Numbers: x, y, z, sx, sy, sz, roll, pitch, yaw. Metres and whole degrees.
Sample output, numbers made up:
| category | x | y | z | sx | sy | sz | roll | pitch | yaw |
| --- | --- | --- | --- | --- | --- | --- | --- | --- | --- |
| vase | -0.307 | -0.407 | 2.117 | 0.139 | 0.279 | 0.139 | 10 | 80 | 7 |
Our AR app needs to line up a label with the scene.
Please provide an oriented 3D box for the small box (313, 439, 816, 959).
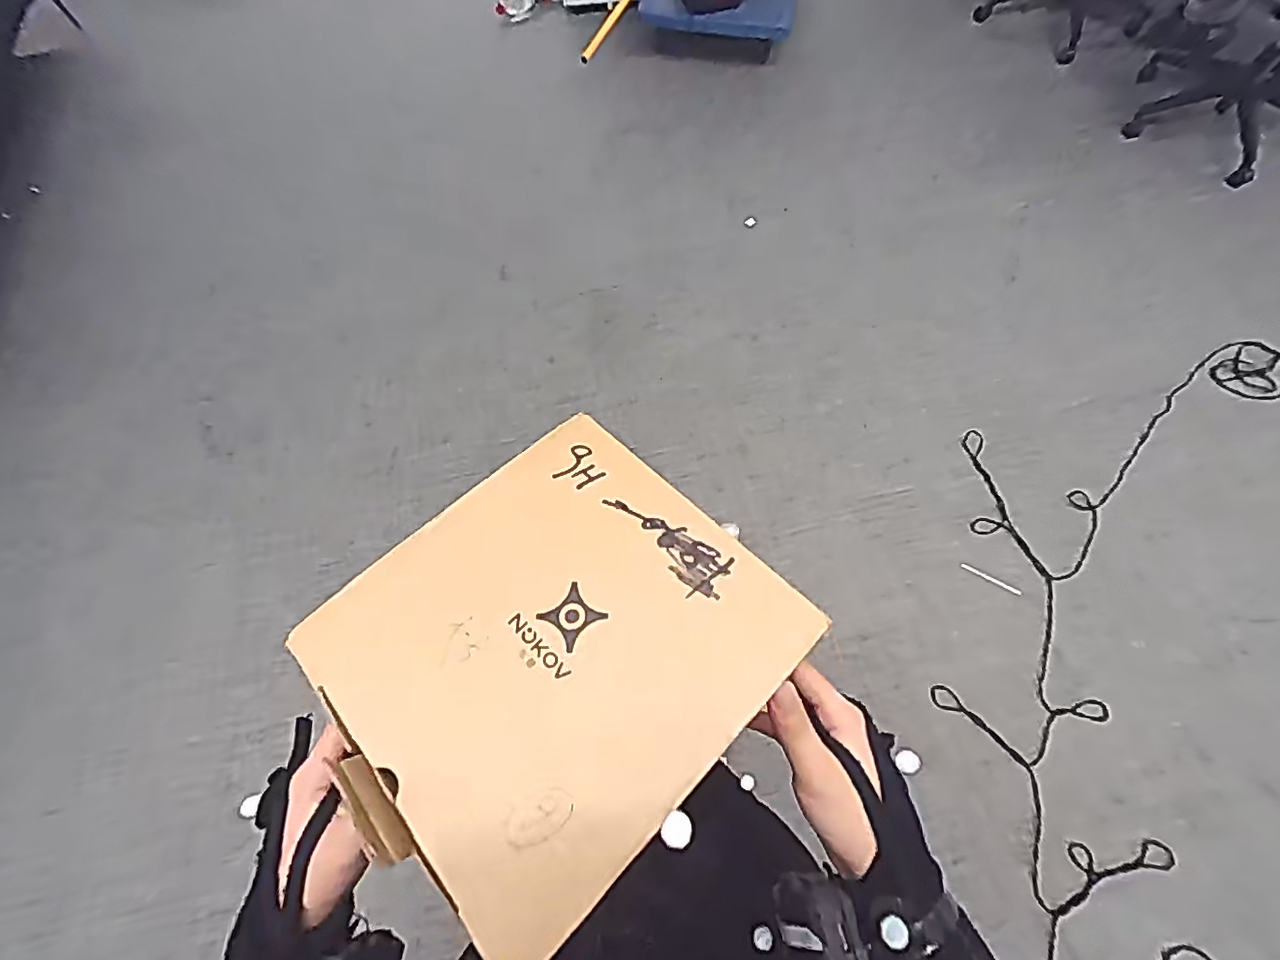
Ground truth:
| category | x | y | z | sx | sy | sz | roll | pitch | yaw |
| --- | --- | --- | --- | --- | --- | --- | --- | --- | --- |
| small box | -0.032 | 0.118 | 0.313 | 0.179 | 0.176 | 0.168 | -41 | 65 | -21 |
